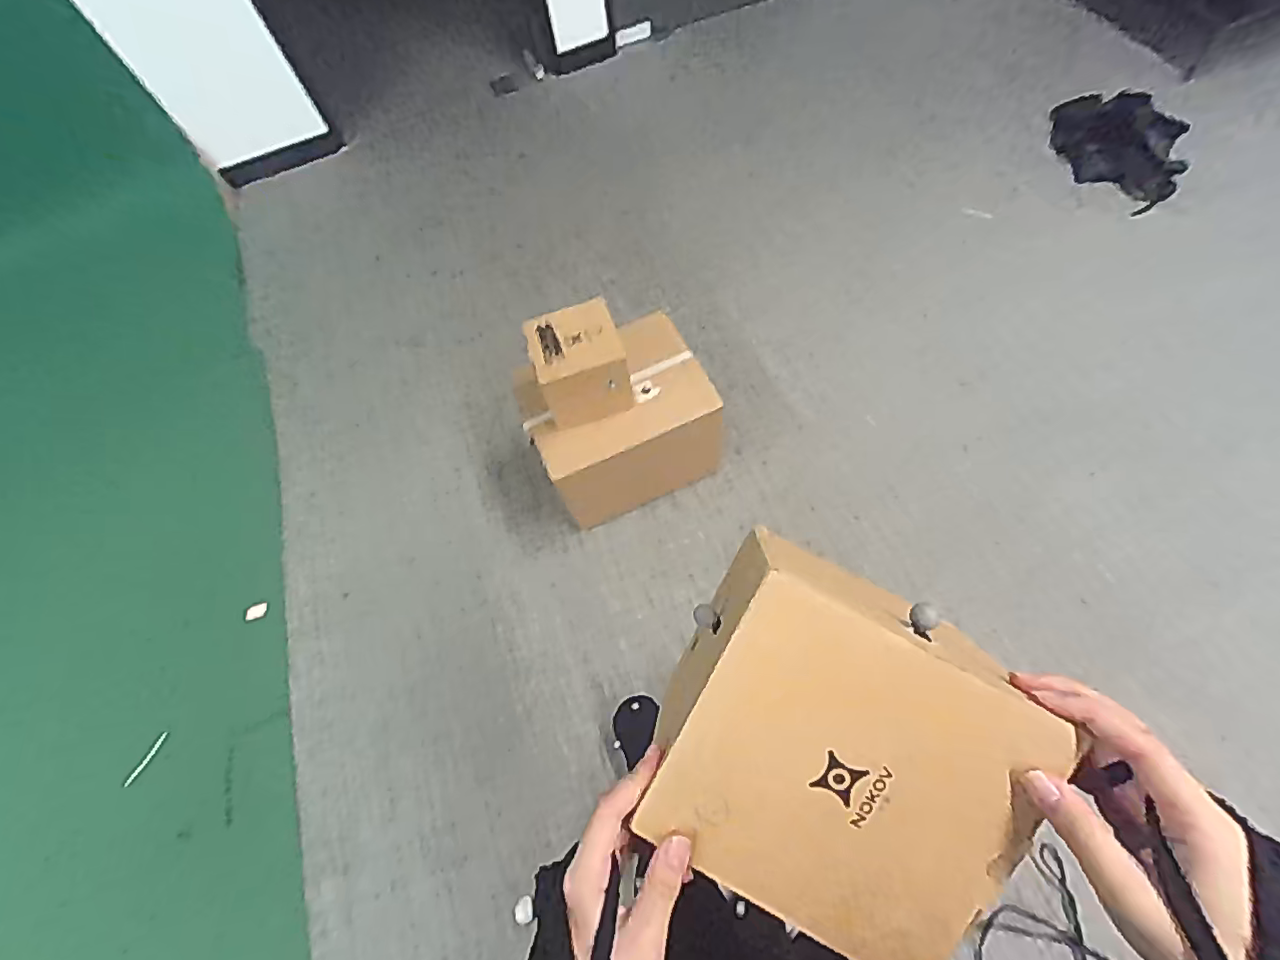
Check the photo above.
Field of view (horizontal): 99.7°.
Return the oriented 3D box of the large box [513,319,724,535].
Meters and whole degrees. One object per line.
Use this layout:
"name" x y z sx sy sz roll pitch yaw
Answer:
"large box" -0.044 -0.120 1.343 0.408 0.320 0.320 -24 64 -7
